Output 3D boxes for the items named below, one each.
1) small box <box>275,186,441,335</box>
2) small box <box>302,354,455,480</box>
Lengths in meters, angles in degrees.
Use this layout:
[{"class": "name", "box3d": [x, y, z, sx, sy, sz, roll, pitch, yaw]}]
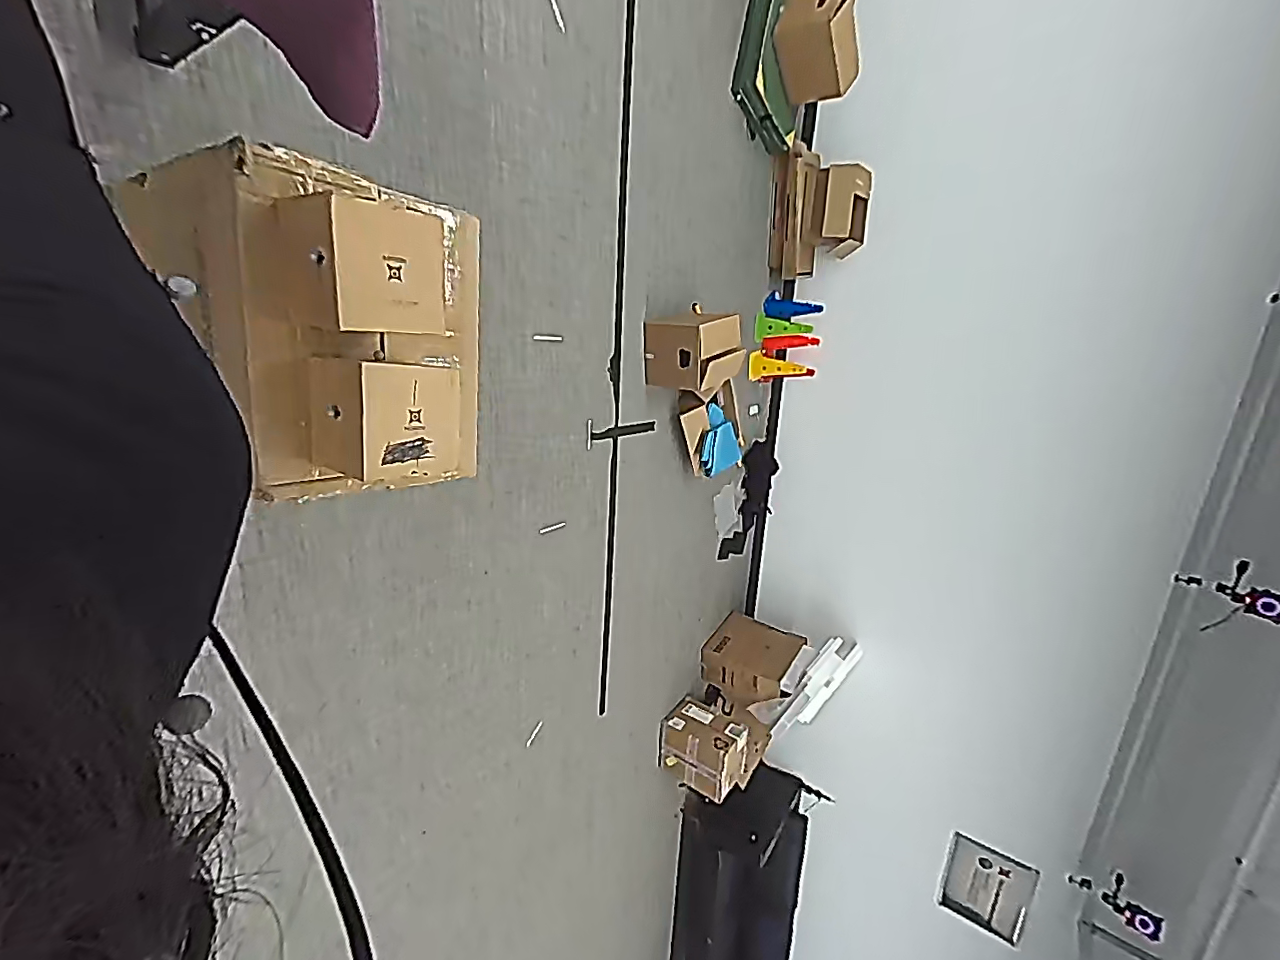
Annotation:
[{"class": "small box", "box3d": [-0.420, -0.318, 0.810, 0.168, 0.176, 0.179, -15, 115, -52]}, {"class": "small box", "box3d": [-0.424, -0.106, 0.878, 0.168, 0.176, 0.179, -10, 108, -54]}]
